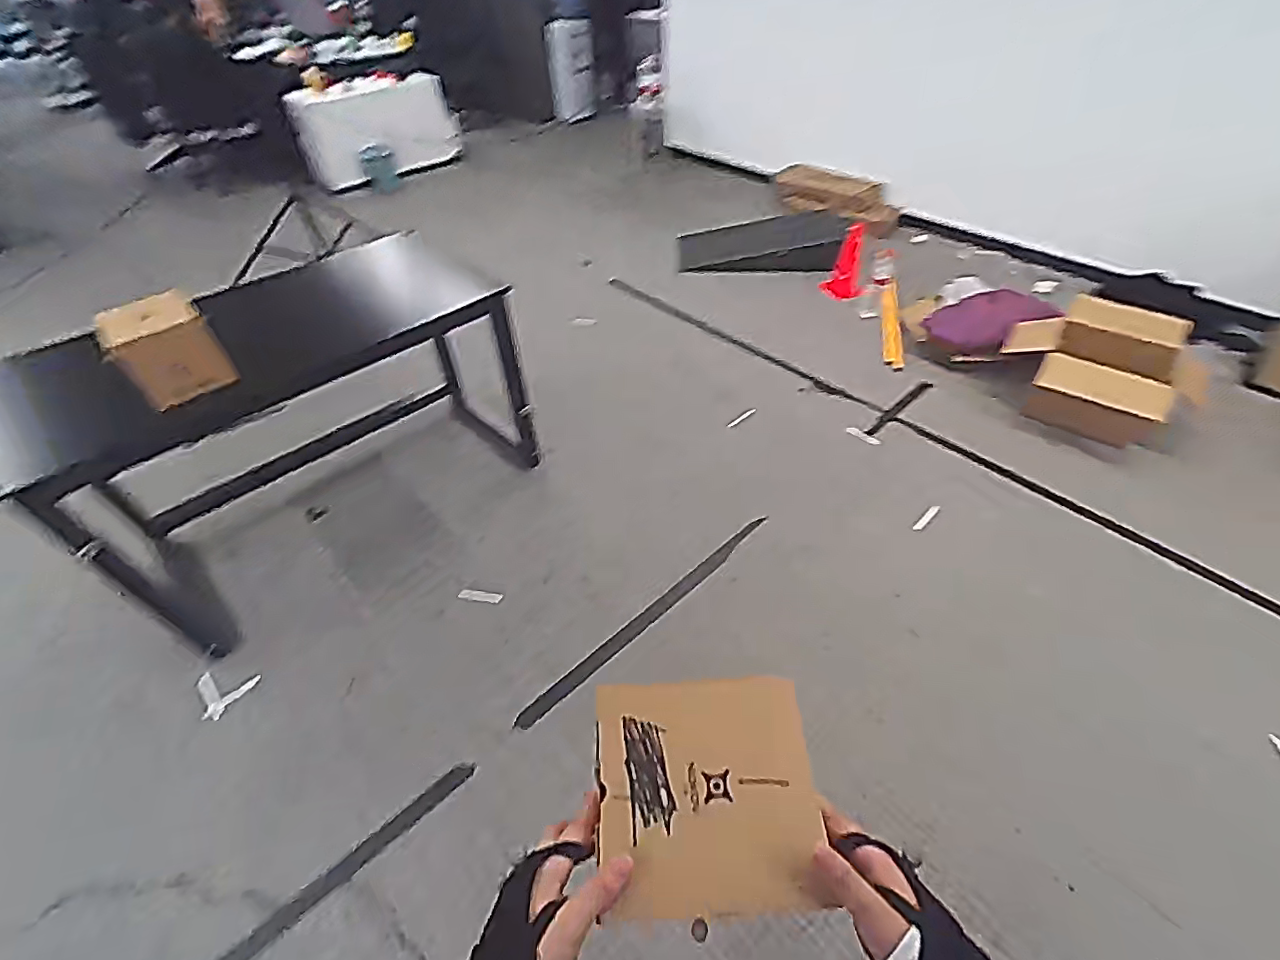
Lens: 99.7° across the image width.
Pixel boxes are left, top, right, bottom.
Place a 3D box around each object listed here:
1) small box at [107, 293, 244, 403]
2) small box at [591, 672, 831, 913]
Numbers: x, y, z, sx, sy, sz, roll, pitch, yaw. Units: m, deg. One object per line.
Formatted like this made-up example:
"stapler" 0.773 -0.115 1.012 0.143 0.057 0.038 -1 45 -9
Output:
"small box" -1.065 -0.300 1.250 0.168 0.176 0.179 -35 54 -29
"small box" 0.050 0.292 0.502 0.179 0.176 0.168 -4 53 -3
